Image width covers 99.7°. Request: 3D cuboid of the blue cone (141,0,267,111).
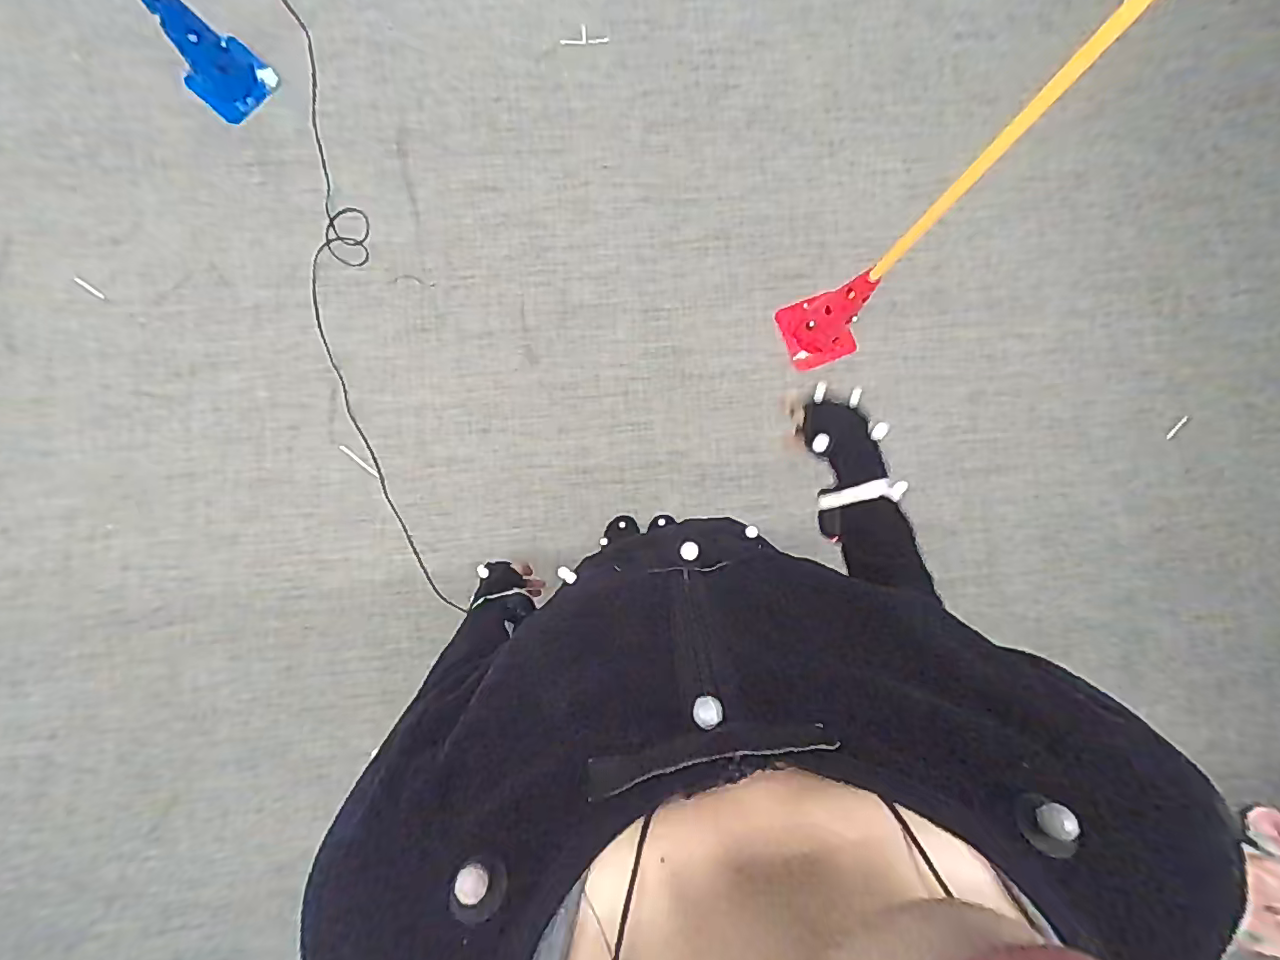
[{"bbox_3d":[-1.154,-1.152,1.349,0.192,0.380,0.193,40,87,-1],"label":"blue cone"}]
